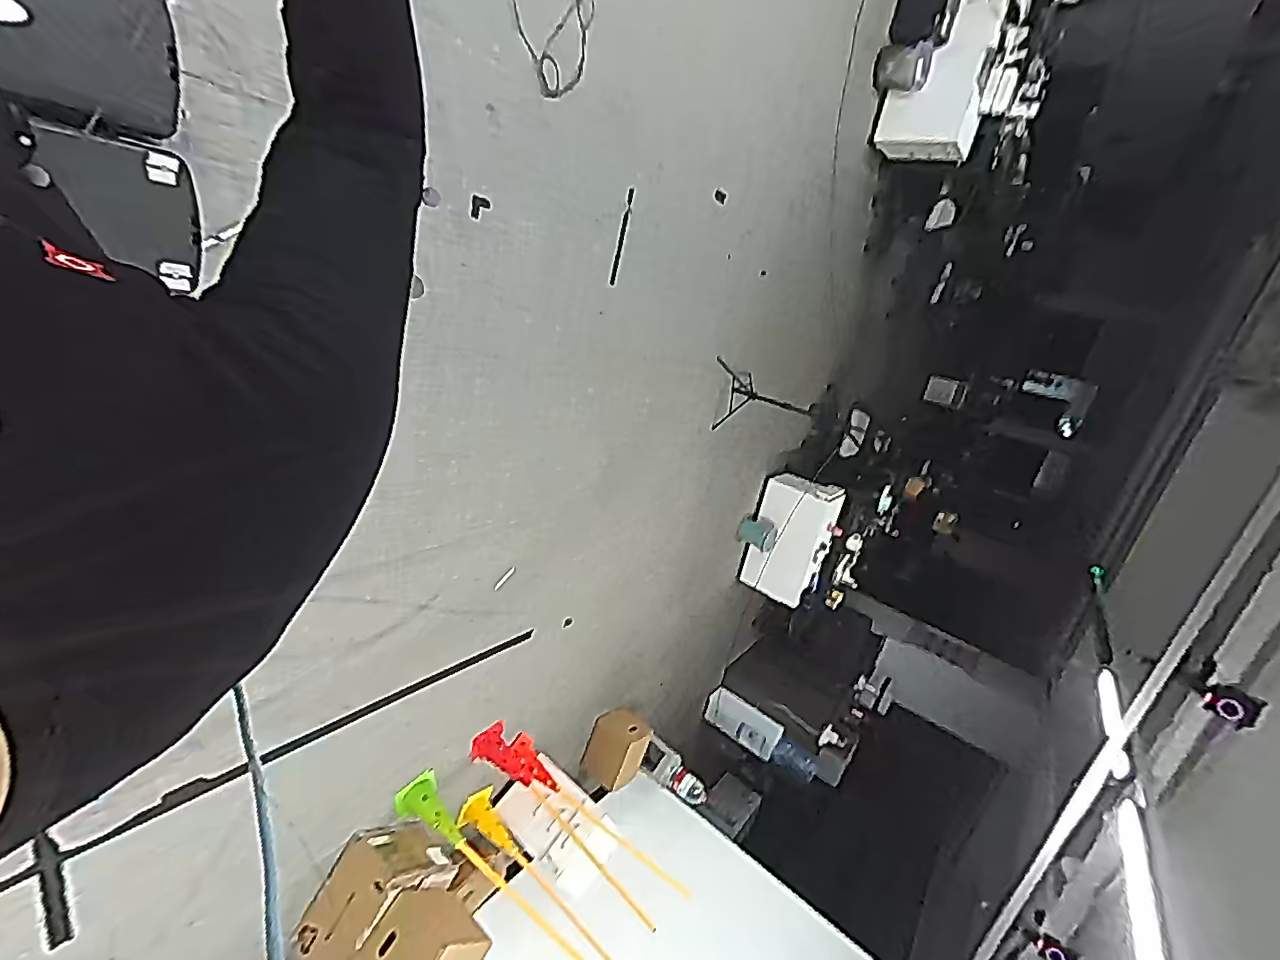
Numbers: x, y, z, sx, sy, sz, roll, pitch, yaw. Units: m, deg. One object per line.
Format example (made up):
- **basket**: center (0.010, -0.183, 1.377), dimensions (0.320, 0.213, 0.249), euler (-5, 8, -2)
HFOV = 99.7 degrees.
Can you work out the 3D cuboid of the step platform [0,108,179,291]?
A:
- **step platform**: center (-1.223, -0.502, 0.906), dimensions (0.684, 0.204, 0.286), euler (-14, 122, -50)
